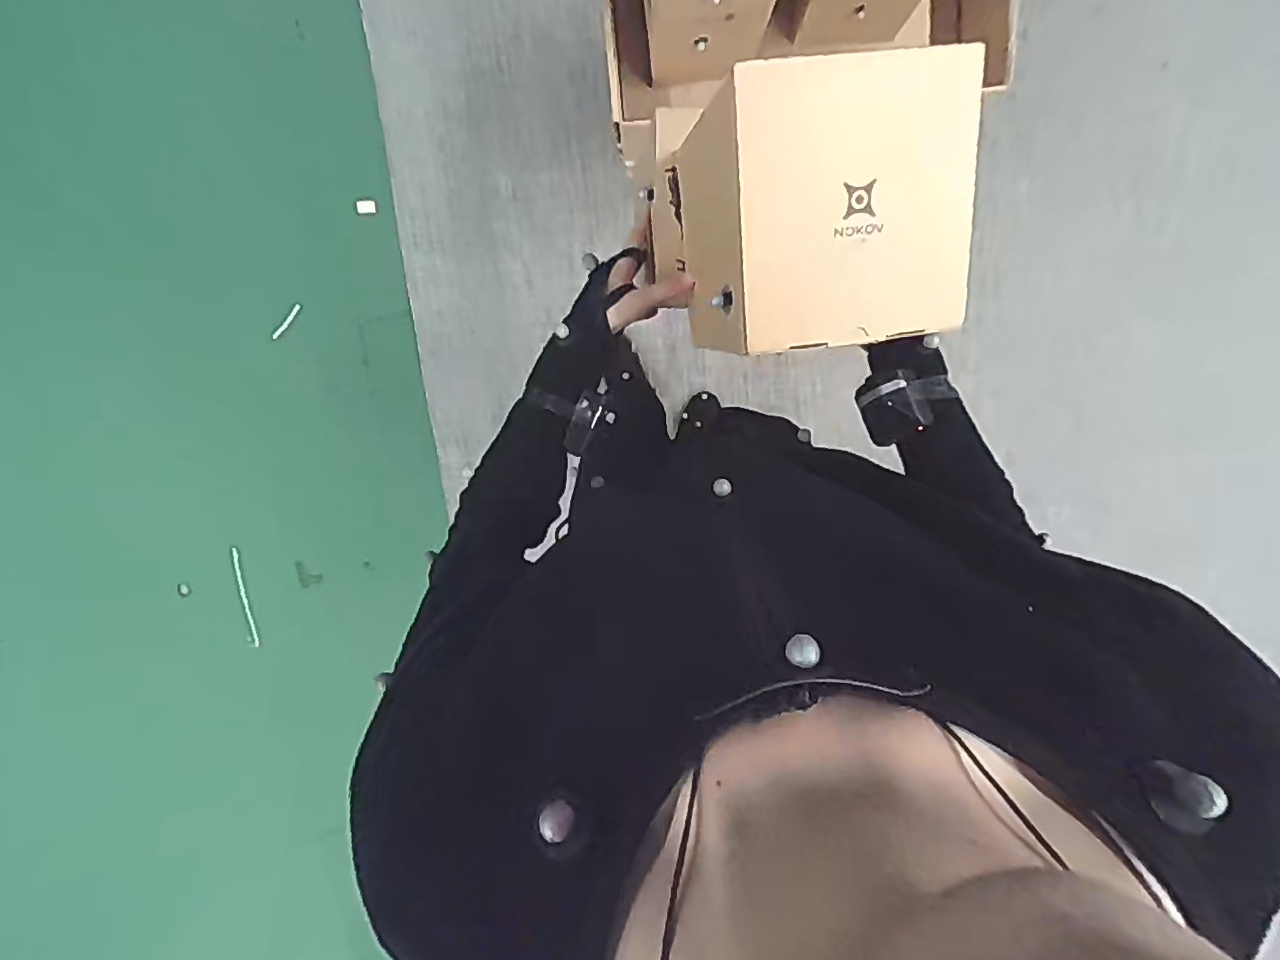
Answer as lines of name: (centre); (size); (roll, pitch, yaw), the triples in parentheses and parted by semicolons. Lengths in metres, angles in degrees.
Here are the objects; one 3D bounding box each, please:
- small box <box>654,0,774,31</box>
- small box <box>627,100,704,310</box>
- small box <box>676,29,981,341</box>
small box: (0.097, -0.719, 0.694); (0.168, 0.176, 0.179); (-5, 100, 2)
small box: (0.084, -0.271, 0.574); (0.179, 0.176, 0.168); (-2, 105, -8)
small box: (0.128, -0.207, 0.425); (0.168, 0.176, 0.179); (-8, 107, -6)
